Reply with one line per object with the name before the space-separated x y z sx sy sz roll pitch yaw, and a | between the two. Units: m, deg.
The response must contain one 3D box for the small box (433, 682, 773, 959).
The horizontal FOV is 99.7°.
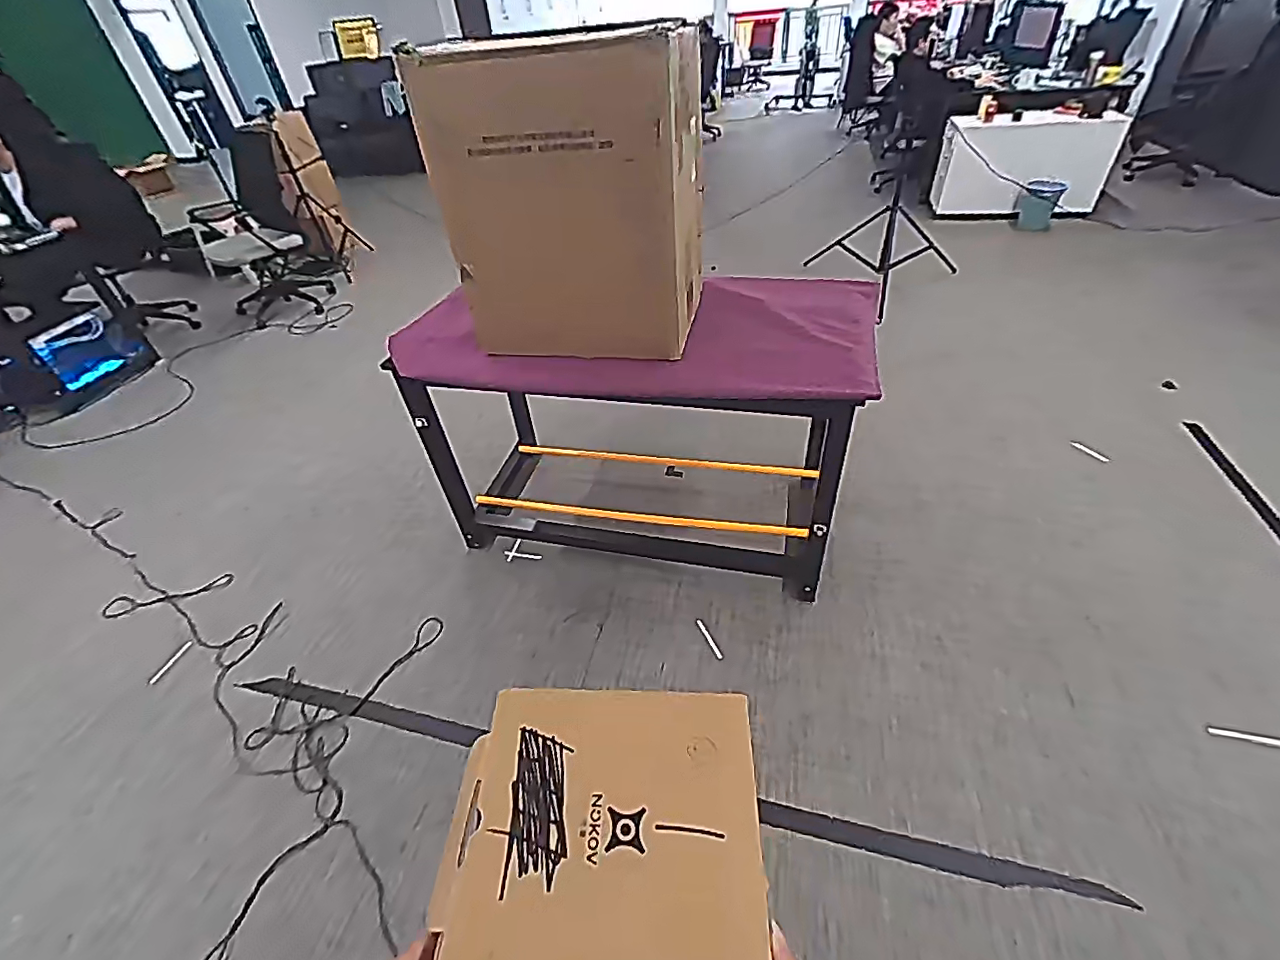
small box | -0.013 0.257 0.373 0.179 0.176 0.168 0 45 3
